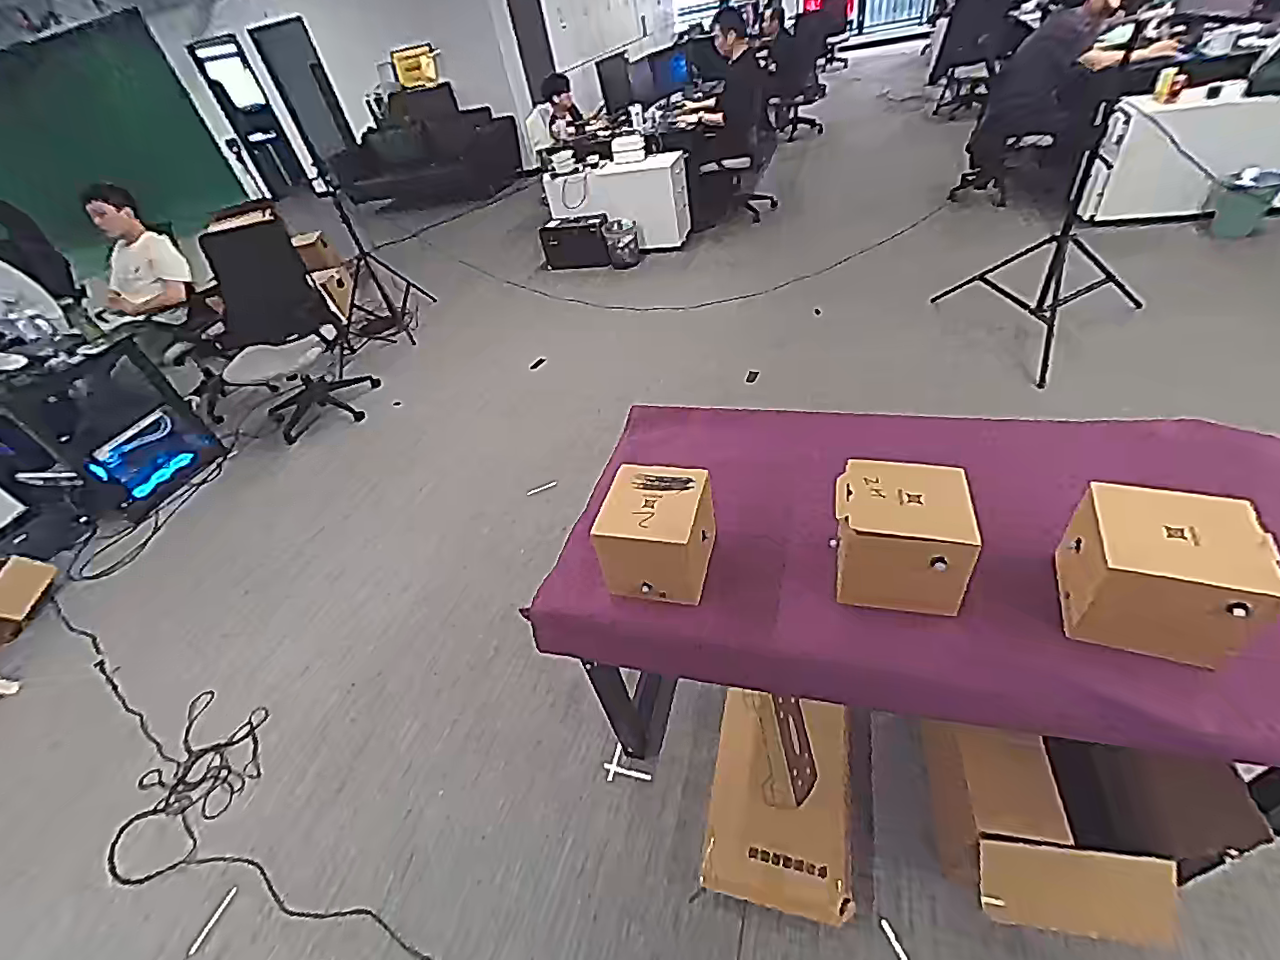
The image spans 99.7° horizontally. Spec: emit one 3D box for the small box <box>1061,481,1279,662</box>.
[{"bbox_3d":[0.714,0.125,0.747,0.179,0.176,0.168,9,46,23],"label":"small box"}]

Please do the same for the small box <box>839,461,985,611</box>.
[{"bbox_3d":[0.418,0.089,0.861,0.179,0.176,0.168,3,41,18],"label":"small box"}]
